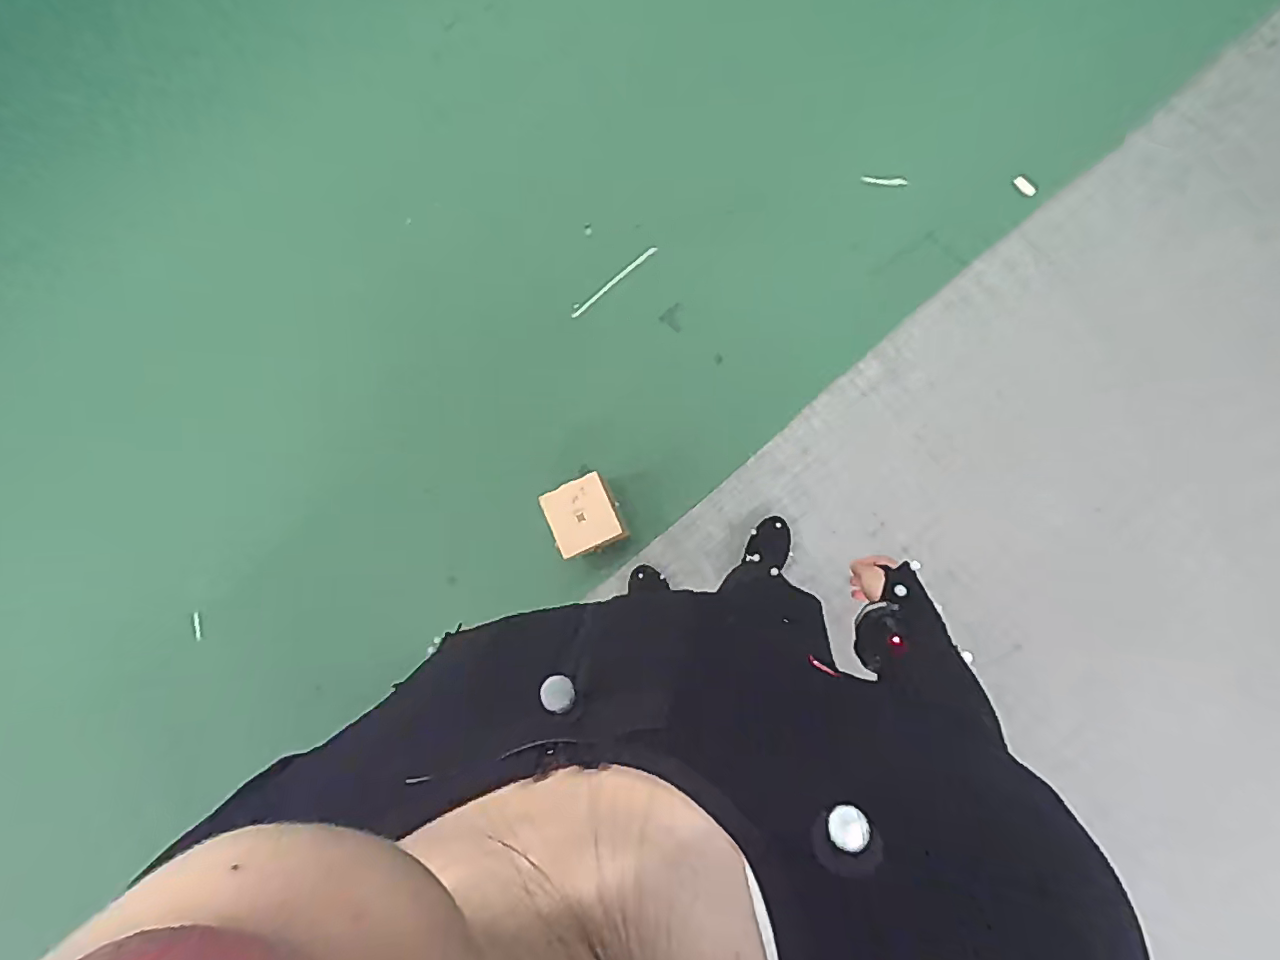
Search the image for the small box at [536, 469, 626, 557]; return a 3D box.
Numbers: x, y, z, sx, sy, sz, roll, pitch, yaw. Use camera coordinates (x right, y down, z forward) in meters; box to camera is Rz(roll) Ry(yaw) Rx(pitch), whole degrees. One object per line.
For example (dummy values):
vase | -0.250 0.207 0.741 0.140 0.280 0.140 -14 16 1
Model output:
small box | -0.149 0.089 1.433 0.168 0.176 0.179 -25 82 2
